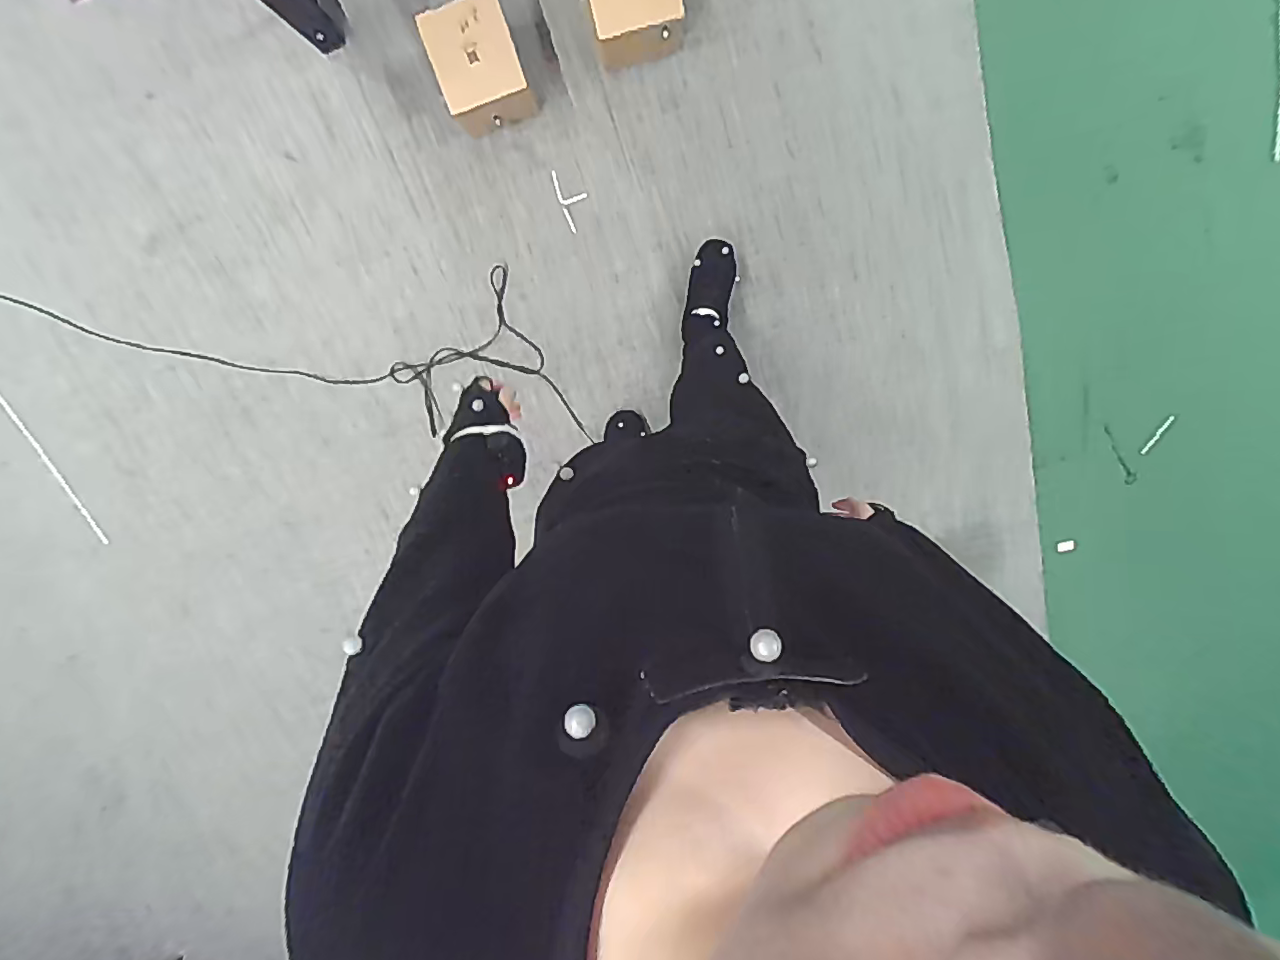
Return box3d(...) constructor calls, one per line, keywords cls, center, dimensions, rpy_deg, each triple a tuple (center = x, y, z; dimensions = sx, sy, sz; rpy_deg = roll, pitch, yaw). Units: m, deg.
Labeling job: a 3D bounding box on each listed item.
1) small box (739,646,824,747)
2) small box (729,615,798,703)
box3d(cls="small box", center=(0.363, 0.560, 1.415), dimensions=(0.179, 0.176, 0.168), rpy_deg=(-11, 107, 1))
box3d(cls="small box", center=(0.362, 0.518, 1.576), dimensions=(0.179, 0.176, 0.168), rpy_deg=(-11, 108, 3))
